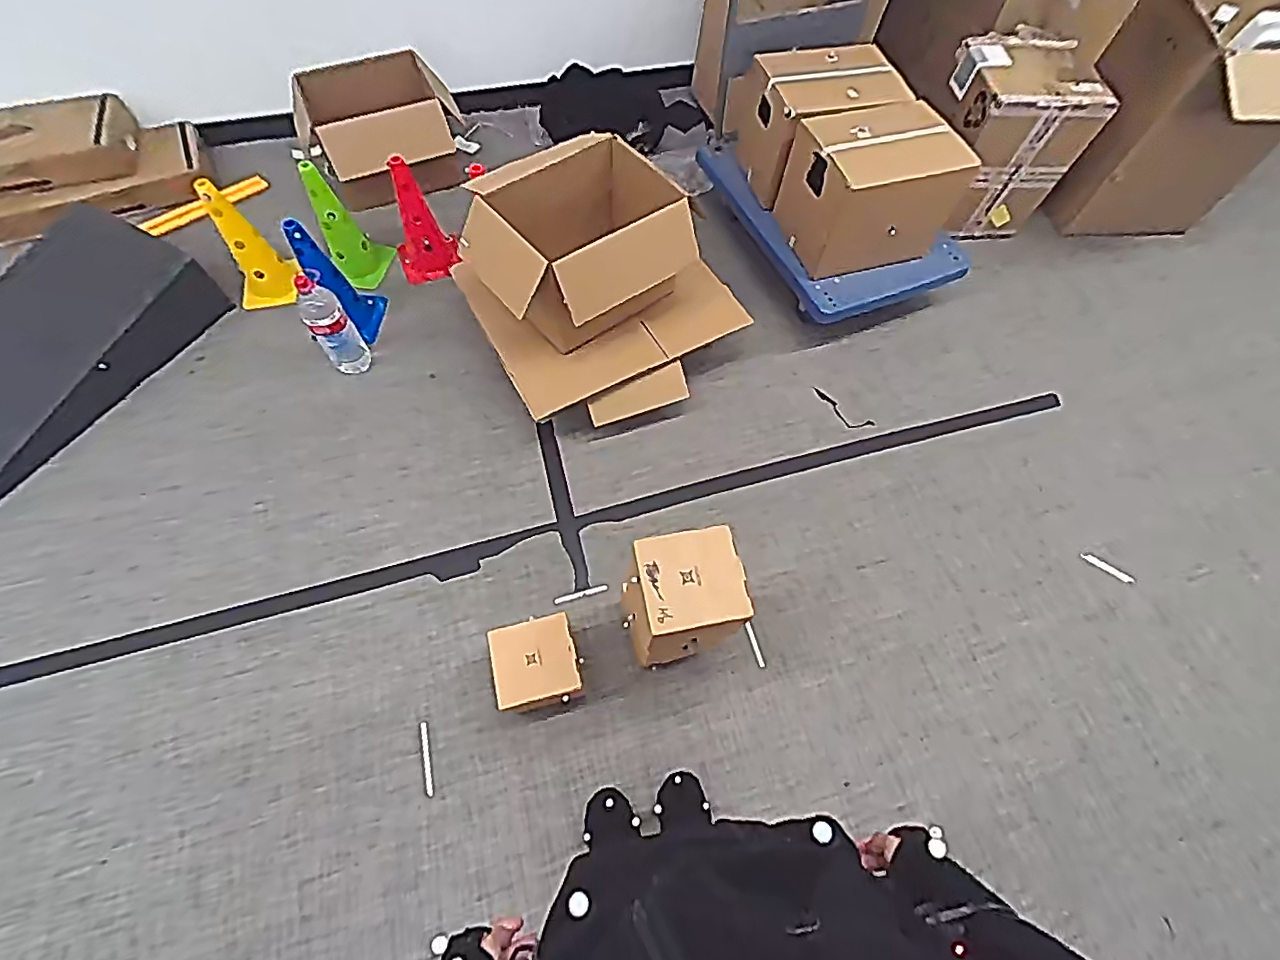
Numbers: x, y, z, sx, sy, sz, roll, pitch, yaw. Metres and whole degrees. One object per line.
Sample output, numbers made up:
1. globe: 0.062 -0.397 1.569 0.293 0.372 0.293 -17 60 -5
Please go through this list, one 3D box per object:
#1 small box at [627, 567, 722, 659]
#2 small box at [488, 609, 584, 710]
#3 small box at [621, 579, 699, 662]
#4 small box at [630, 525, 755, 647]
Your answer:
1. small box: 0.074 0.264 1.124 0.179 0.176 0.168 -11 66 -9
2. small box: -0.230 0.410 1.220 0.179 0.176 0.168 -13 65 -10
3. small box: 0.055 0.322 1.278 0.168 0.176 0.179 -13 65 -10
4. small box: 0.083 0.196 0.975 0.179 0.176 0.168 -8 65 -8
